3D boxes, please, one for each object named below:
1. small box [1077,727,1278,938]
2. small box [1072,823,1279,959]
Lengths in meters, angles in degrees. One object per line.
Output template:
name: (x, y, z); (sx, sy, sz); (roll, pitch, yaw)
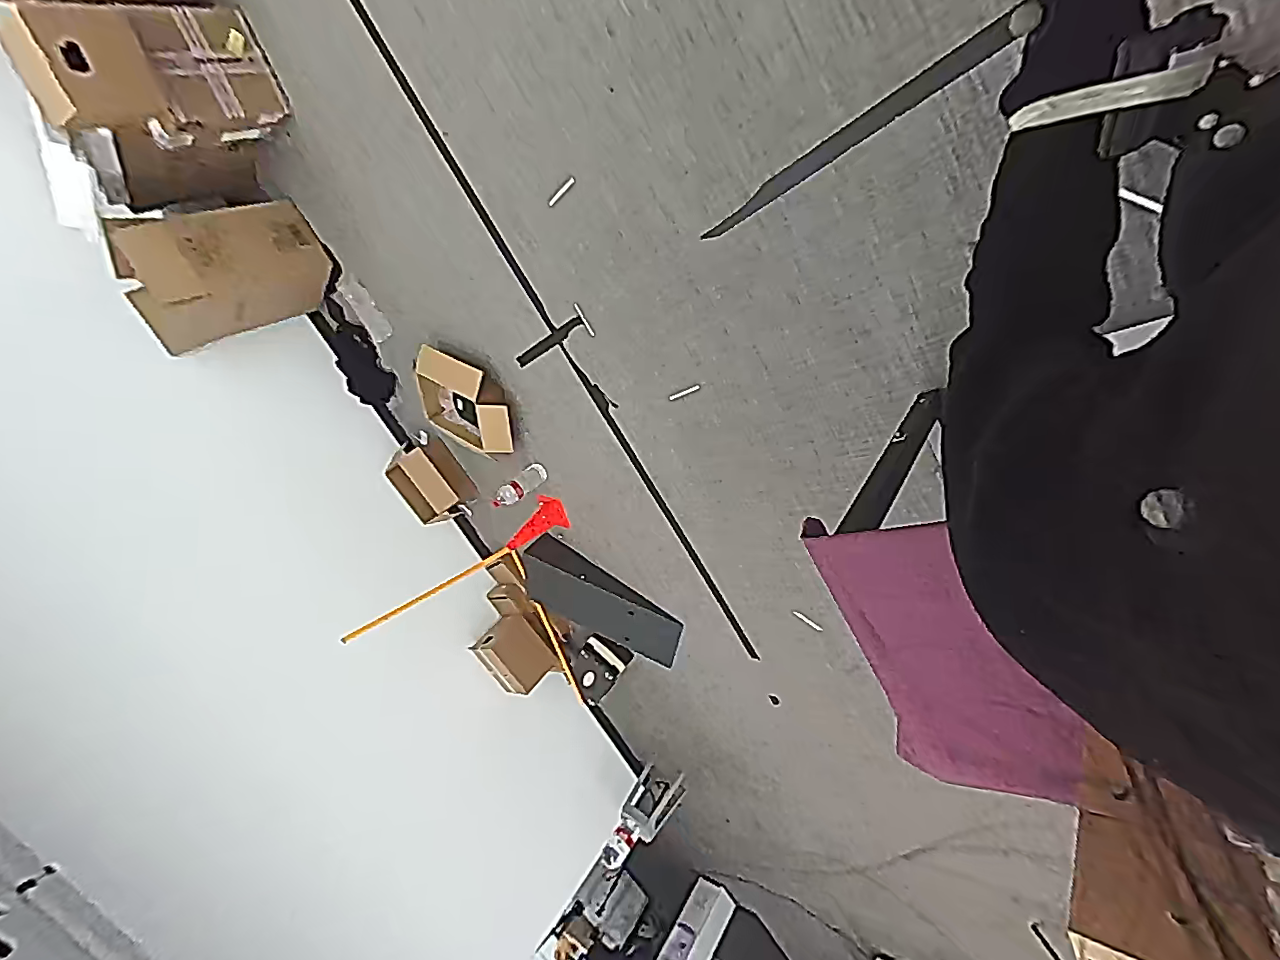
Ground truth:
small box: (0.758, 0.485, 0.769); (0.179, 0.176, 0.168); (-11, 113, 47)
small box: (0.662, 0.570, 0.667); (0.179, 0.176, 0.168); (-9, 114, 46)
